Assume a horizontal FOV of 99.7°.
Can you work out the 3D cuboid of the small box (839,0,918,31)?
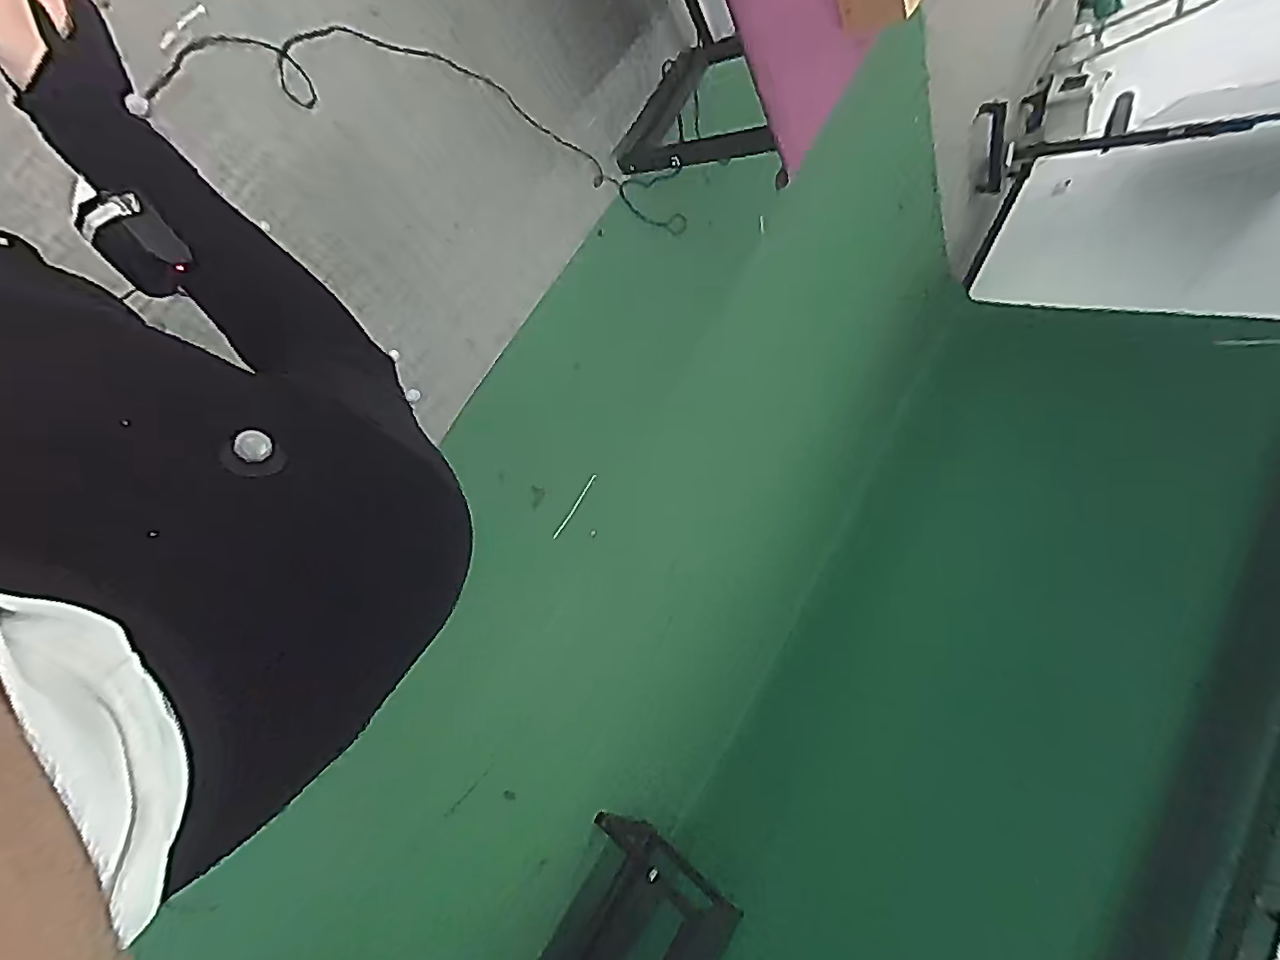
[{"bbox_3d":[0.616,-1.293,1.364,0.168,0.176,0.179,41,75,-46],"label":"small box"}]
